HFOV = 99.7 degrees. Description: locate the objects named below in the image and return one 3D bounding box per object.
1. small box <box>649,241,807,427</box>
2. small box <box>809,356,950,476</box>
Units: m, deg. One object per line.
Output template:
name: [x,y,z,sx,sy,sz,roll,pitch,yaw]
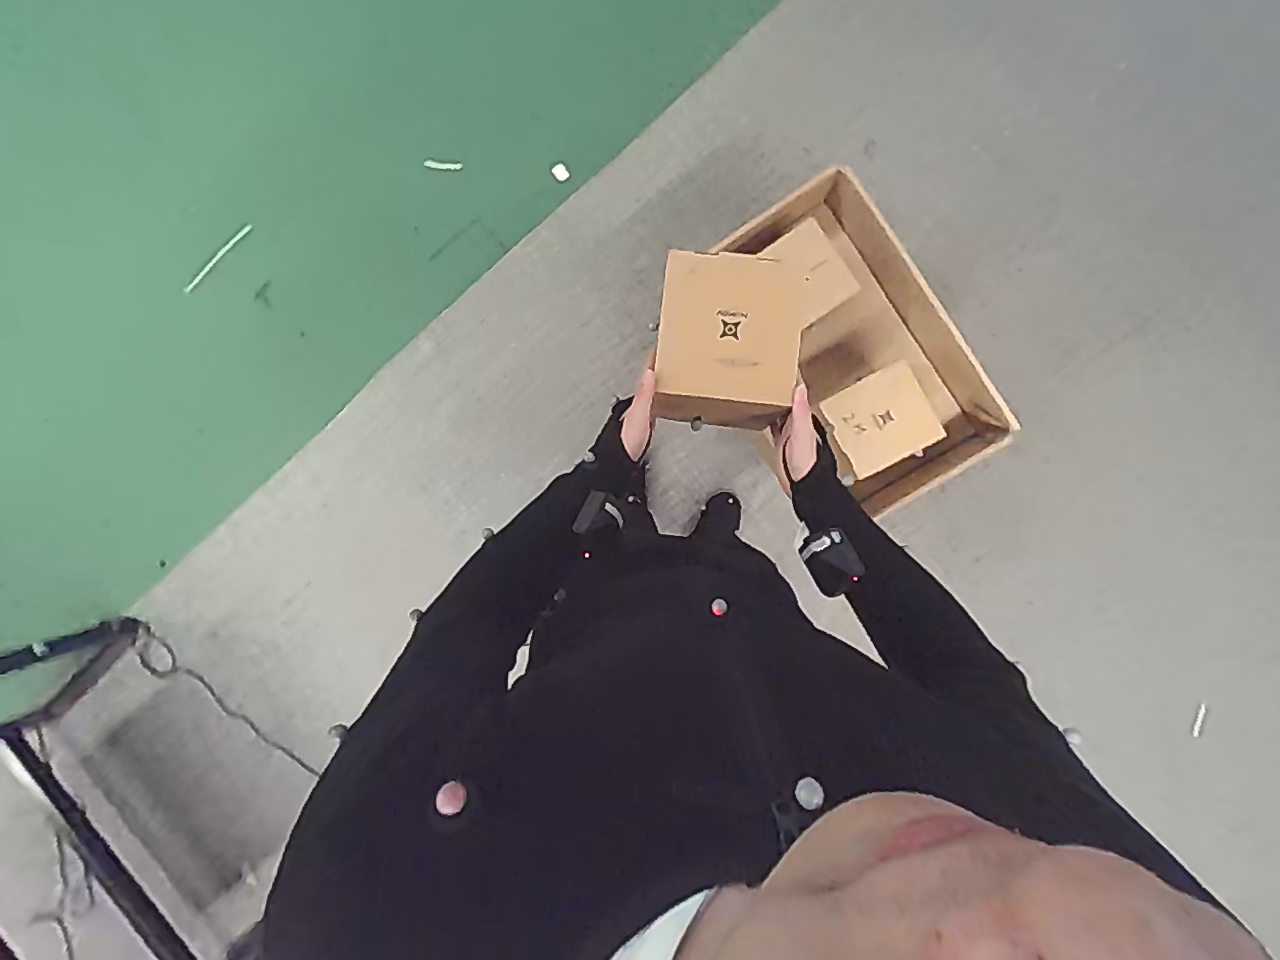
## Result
small box: [0.102,-0.175,0.695,0.168,0.176,0.179,6,86,1]
small box: [0.460,-0.121,1.066,0.179,0.176,0.168,-28,89,8]
